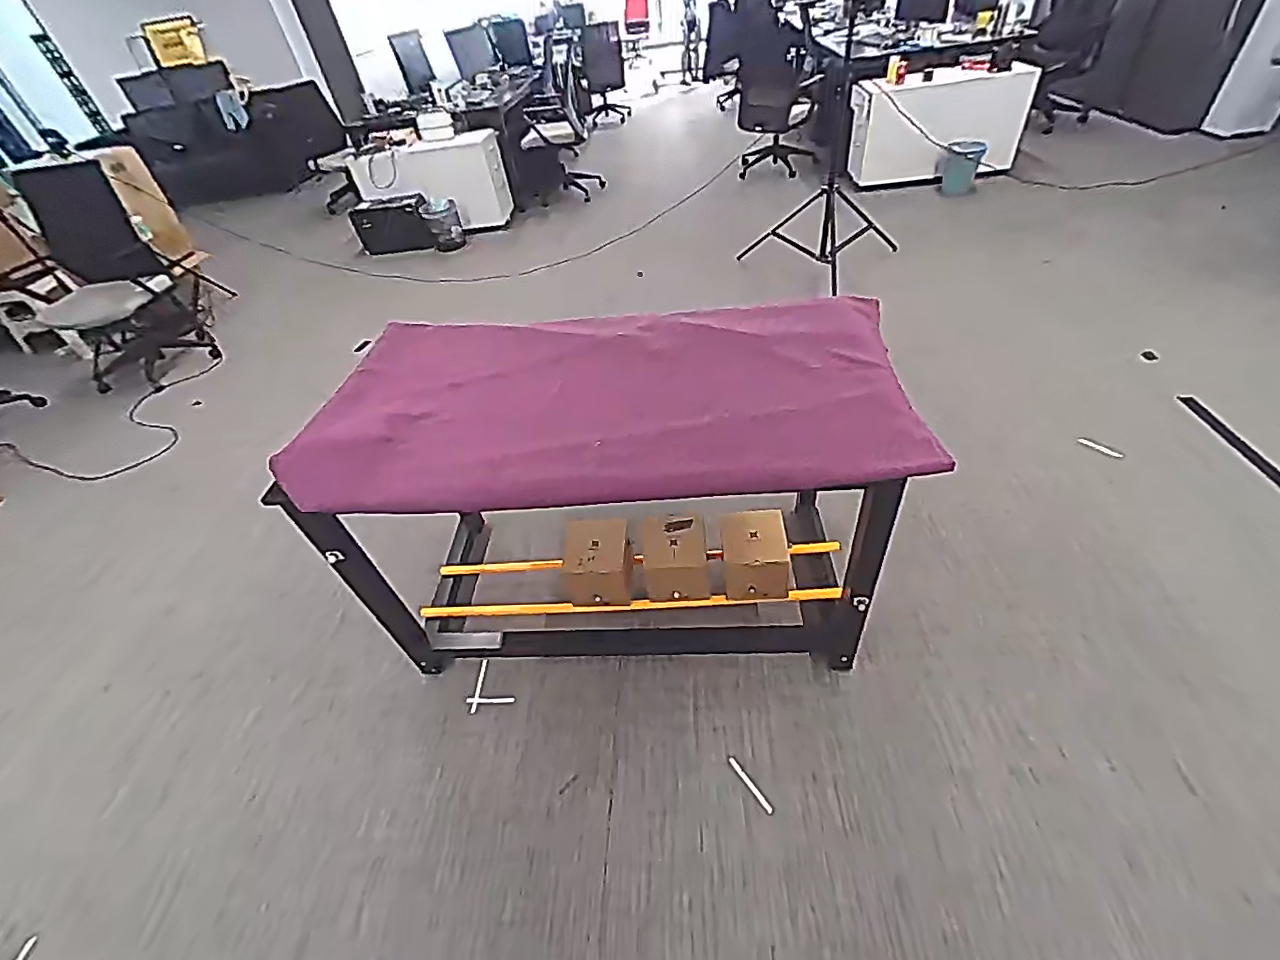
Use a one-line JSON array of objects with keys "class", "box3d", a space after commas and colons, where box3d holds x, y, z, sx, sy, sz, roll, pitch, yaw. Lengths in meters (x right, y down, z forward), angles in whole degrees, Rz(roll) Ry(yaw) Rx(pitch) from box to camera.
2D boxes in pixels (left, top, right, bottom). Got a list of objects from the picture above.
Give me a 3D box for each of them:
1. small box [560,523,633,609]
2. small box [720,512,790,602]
[{"class": "small box", "box3d": [-0.114, 0.239, 1.502, 0.168, 0.176, 0.179, -2, 46, 7]}, {"class": "small box", "box3d": [0.303, 0.208, 1.456, 0.168, 0.176, 0.179, -4, 45, 6]}]
